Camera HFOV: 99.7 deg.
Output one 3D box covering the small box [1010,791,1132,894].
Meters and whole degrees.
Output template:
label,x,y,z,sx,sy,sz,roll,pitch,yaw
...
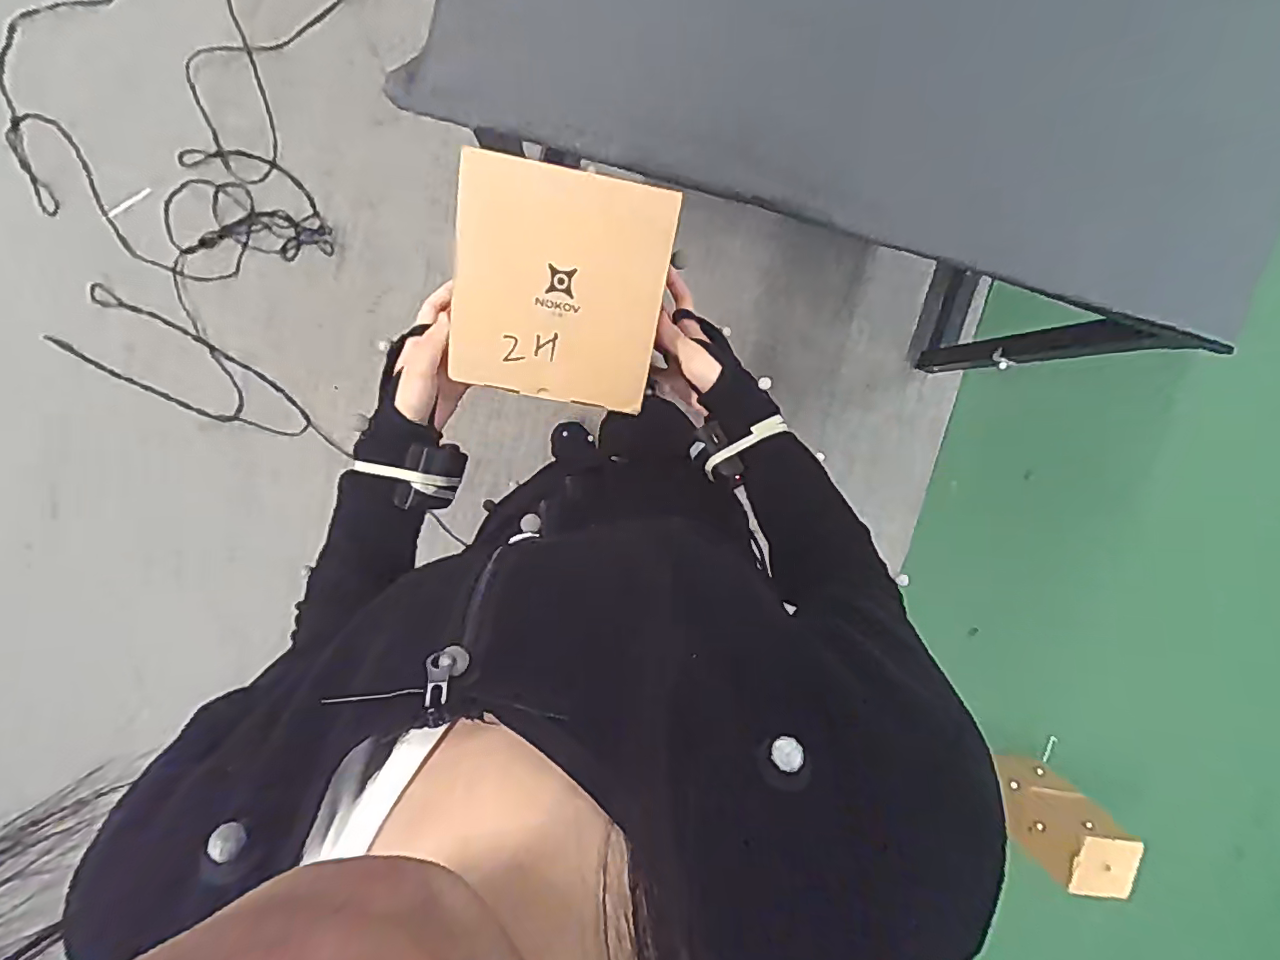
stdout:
label,x,y,z,sx,sy,sz,roll,pitch,yaw
small box,1.176,0.989,1.487,0.179,0.176,0.168,10,97,-6
